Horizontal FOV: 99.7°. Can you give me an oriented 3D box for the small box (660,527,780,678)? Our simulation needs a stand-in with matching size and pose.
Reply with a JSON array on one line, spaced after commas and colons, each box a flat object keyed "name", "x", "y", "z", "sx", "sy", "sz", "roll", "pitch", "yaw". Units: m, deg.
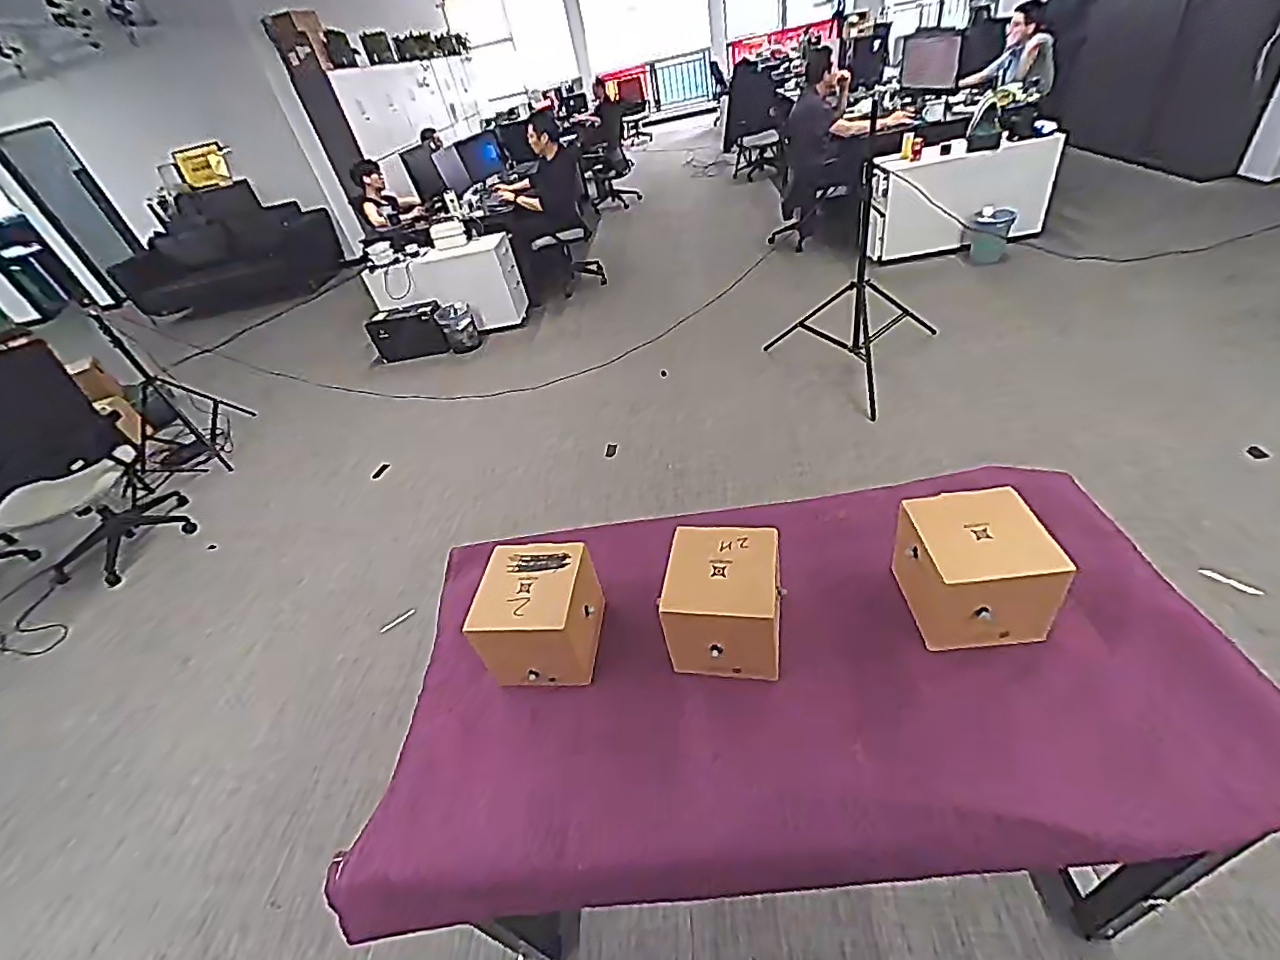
[{"name": "small box", "x": 0.139, "y": 0.197, "z": 0.877, "sx": 0.168, "sy": 0.176, "sz": 0.179, "roll": 0, "pitch": 40, "yaw": 16}]

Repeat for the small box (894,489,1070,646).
[{"name": "small box", "x": 0.510, "y": 0.141, "z": 0.838, "sx": 0.168, "sy": 0.176, "sz": 0.179, "roll": -8, "pitch": 38, "yaw": 8}]
